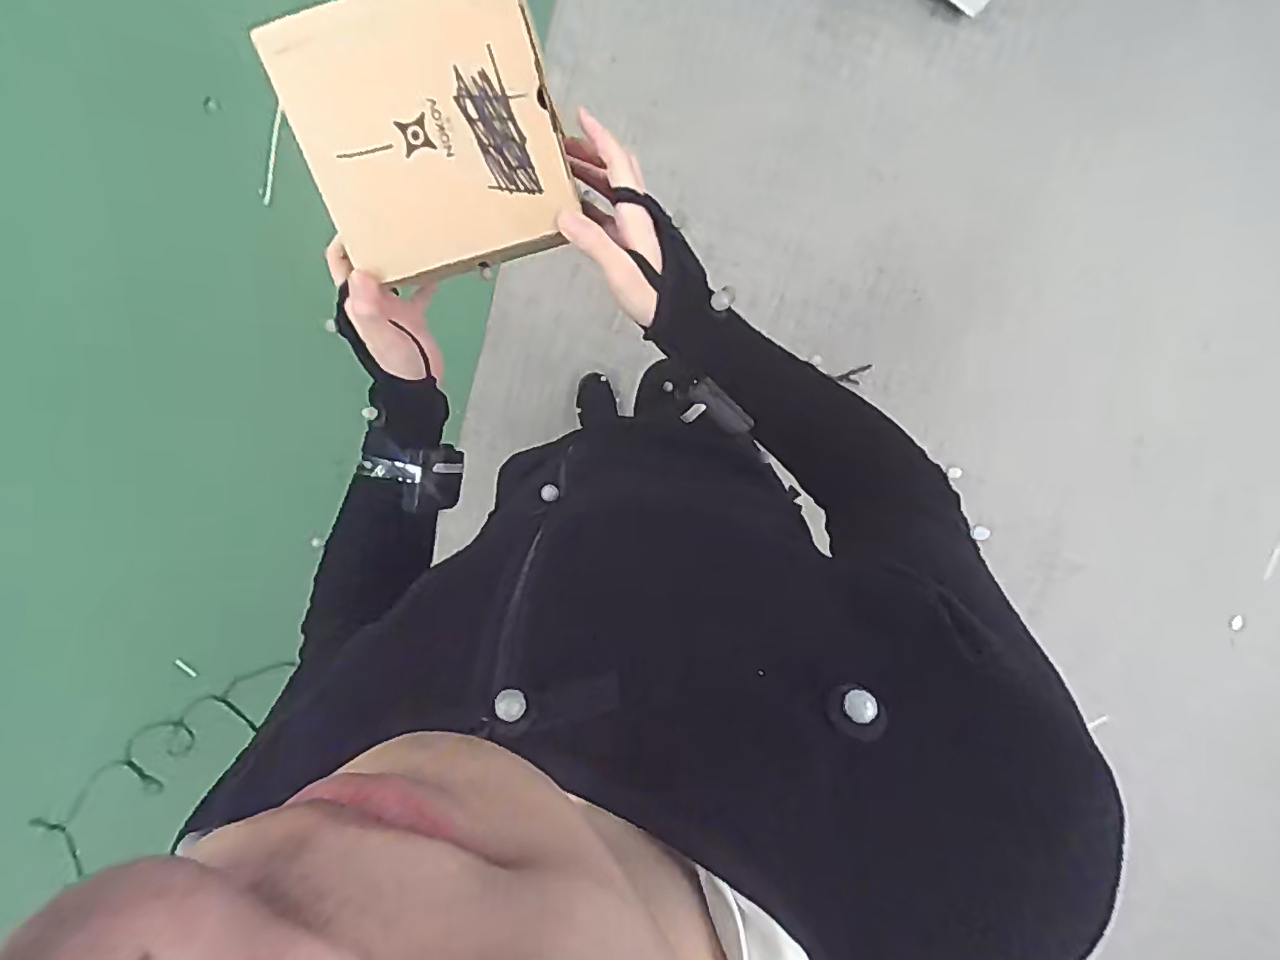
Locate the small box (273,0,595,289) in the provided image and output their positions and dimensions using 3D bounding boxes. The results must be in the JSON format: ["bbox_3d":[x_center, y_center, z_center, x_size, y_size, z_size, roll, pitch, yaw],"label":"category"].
[{"bbox_3d":[-0.141,-0.266,0.449,0.179,0.176,0.168,-14,111,3],"label":"small box"}]
